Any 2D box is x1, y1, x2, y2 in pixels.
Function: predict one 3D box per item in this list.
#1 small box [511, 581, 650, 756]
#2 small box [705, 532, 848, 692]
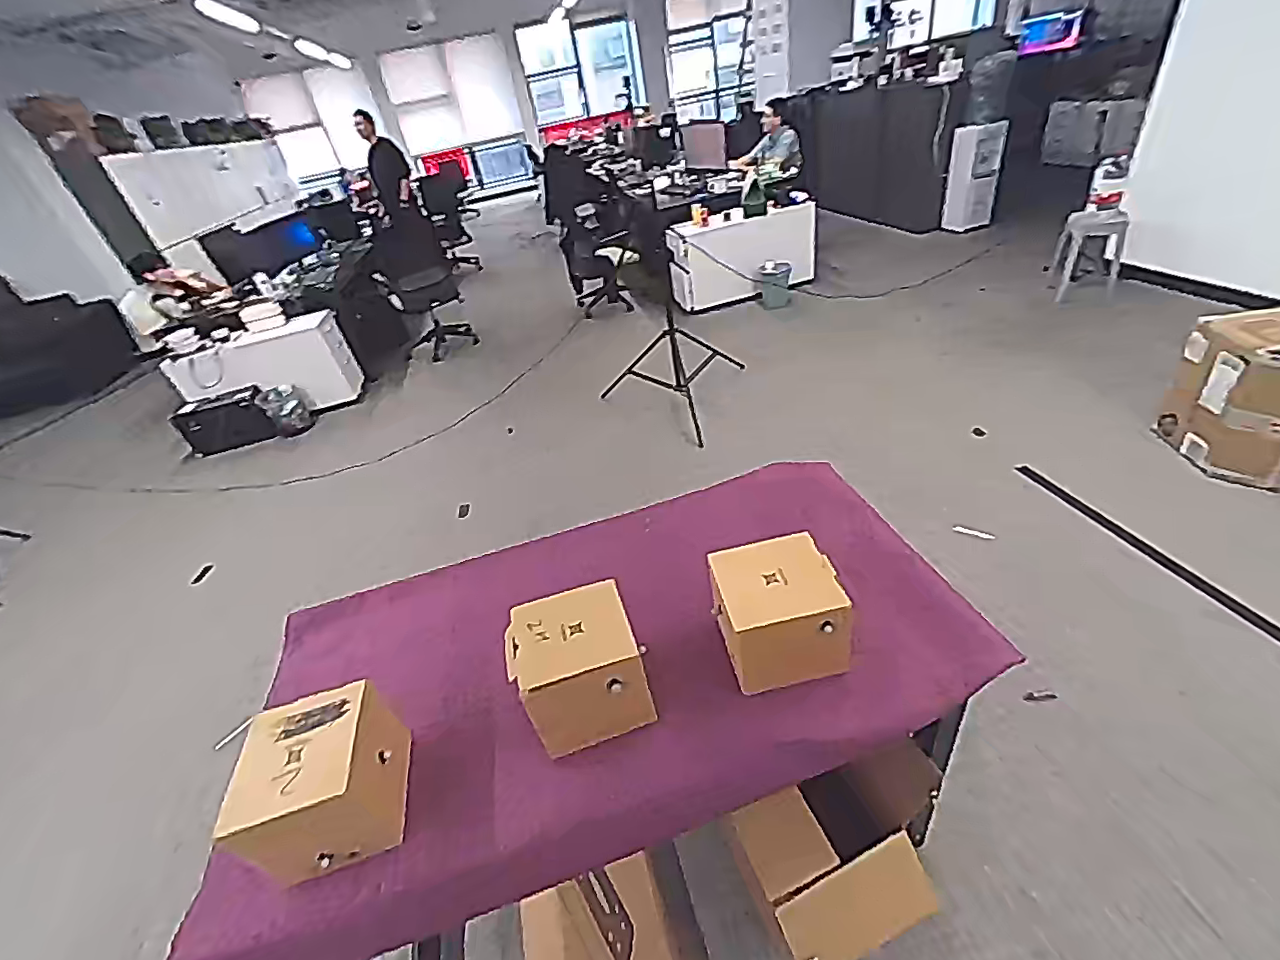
[{"bbox_3d":[-0.090,0.296,0.854,0.179,0.176,0.168,-18,34,-7],"label":"small box"},{"bbox_3d":[0.217,0.215,0.875,0.179,0.176,0.168,-13,36,-2],"label":"small box"}]
